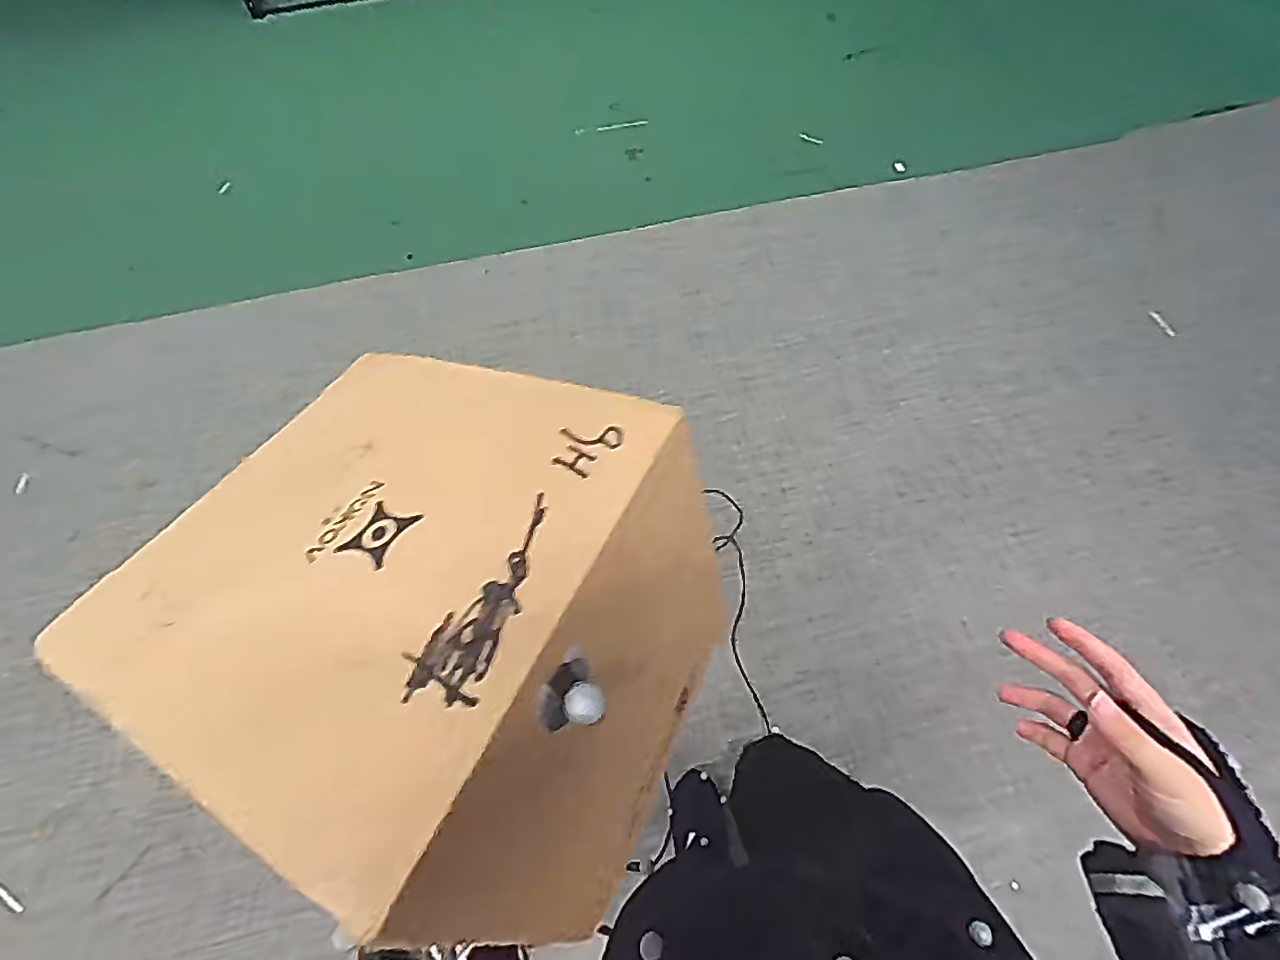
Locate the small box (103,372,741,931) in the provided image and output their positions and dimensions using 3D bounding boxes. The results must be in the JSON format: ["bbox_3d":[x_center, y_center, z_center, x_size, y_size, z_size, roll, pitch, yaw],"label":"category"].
[{"bbox_3d":[-0.066,0.074,0.255,0.179,0.176,0.168,14,57,27],"label":"small box"}]
